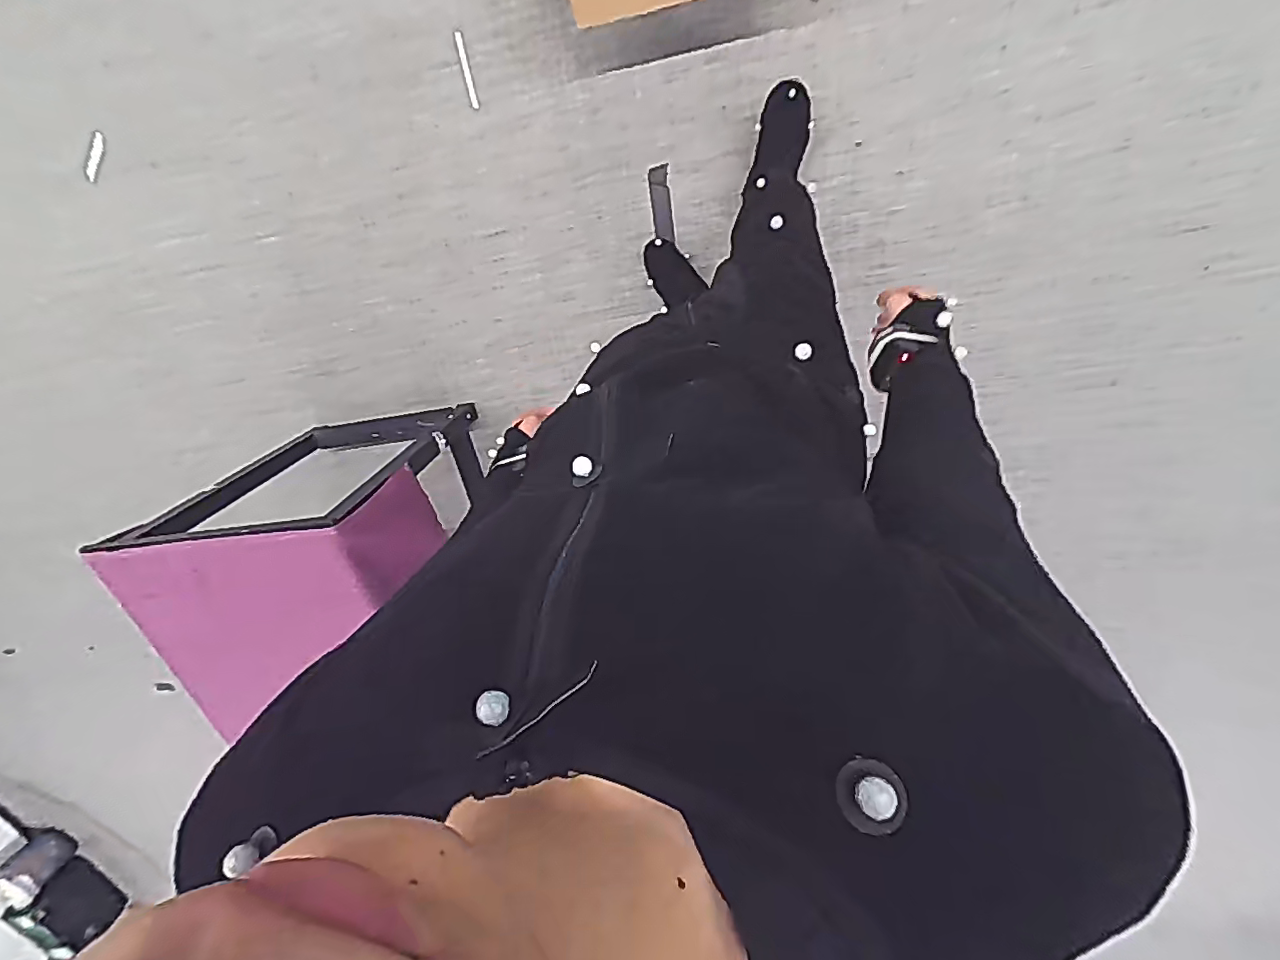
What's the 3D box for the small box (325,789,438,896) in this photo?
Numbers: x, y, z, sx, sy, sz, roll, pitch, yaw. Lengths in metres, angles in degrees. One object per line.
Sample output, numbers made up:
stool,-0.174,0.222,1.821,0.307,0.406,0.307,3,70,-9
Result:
small box,-0.641,0.914,1.373,0.179,0.176,0.168,-14,114,14
